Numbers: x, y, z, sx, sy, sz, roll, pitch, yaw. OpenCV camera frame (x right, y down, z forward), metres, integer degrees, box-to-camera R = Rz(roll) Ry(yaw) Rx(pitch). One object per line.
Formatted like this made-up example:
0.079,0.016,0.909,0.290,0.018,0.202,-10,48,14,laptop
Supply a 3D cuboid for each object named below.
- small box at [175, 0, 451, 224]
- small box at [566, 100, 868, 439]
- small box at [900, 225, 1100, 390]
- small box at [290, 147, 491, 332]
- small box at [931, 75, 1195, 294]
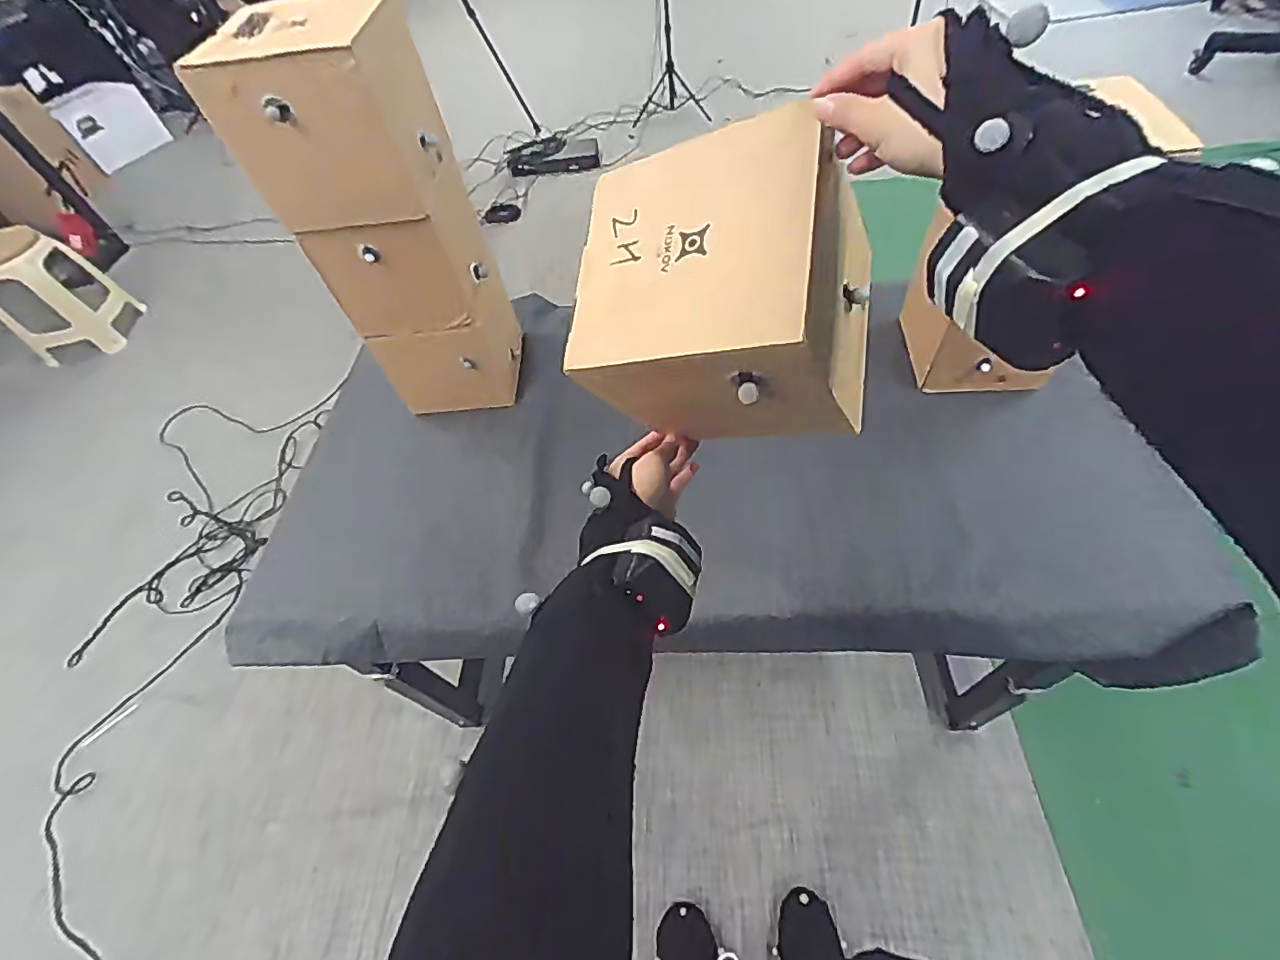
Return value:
-0.338,-0.408,0.603,0.179,0.176,0.168,-3,57,4,small box
0.072,-0.135,0.422,0.179,0.176,0.168,1,76,33,small box
0.493,-0.250,0.778,0.168,0.176,0.179,0,56,8,small box
-0.324,-0.323,0.744,0.179,0.176,0.168,-5,57,3,small box
0.471,-0.337,0.640,0.168,0.176,0.179,0,57,8,small box
